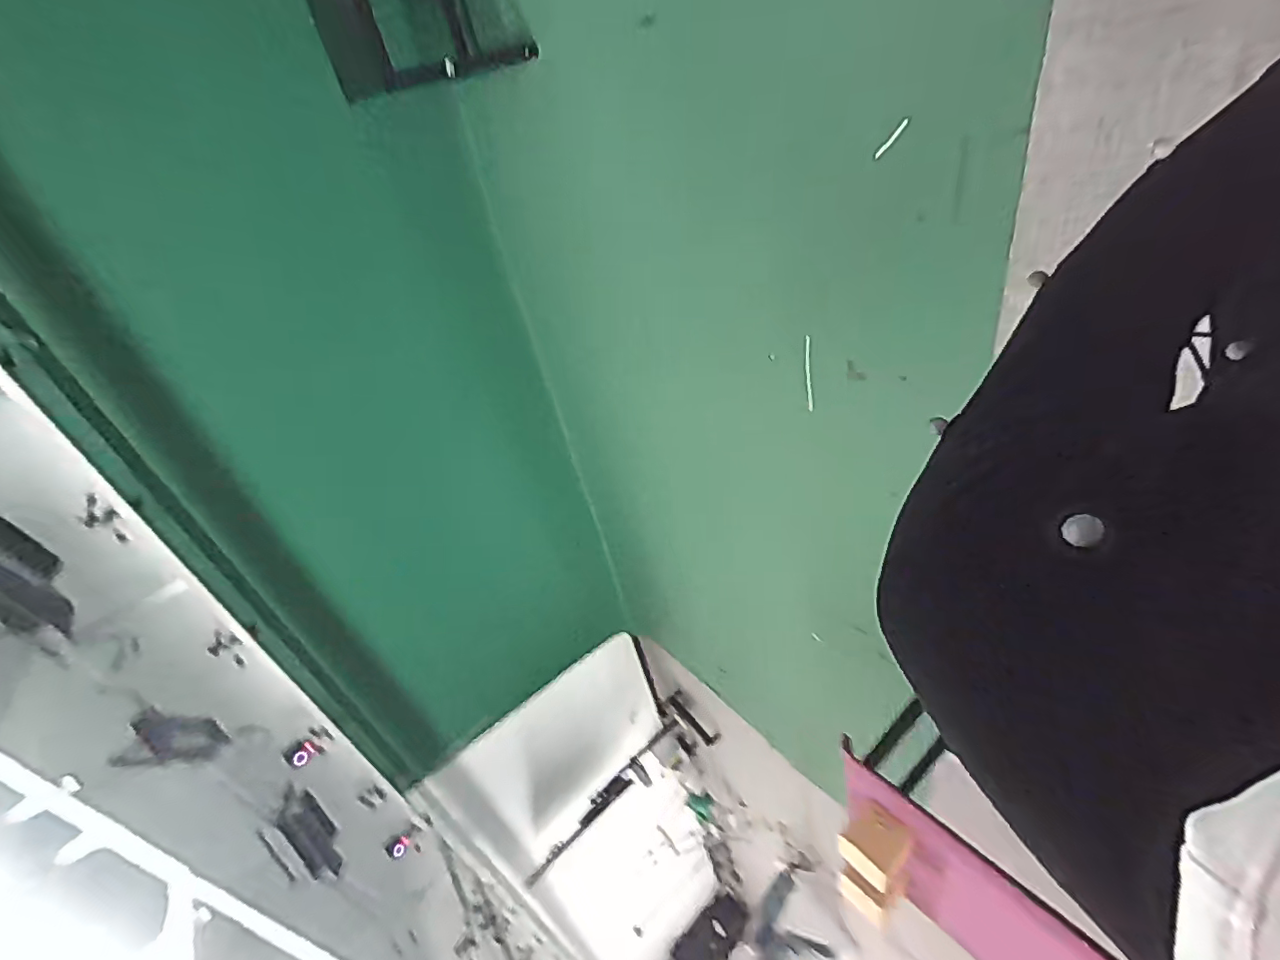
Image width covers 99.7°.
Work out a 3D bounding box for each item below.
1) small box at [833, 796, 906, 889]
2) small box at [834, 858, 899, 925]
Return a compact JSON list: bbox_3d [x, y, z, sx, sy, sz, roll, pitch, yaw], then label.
[{"bbox_3d":[0.779,1.228,1.836,0.168,0.176,0.179,29,144,44],"label":"small box"},{"bbox_3d":[0.843,1.488,2.014,0.168,0.176,0.179,27,139,45],"label":"small box"}]
